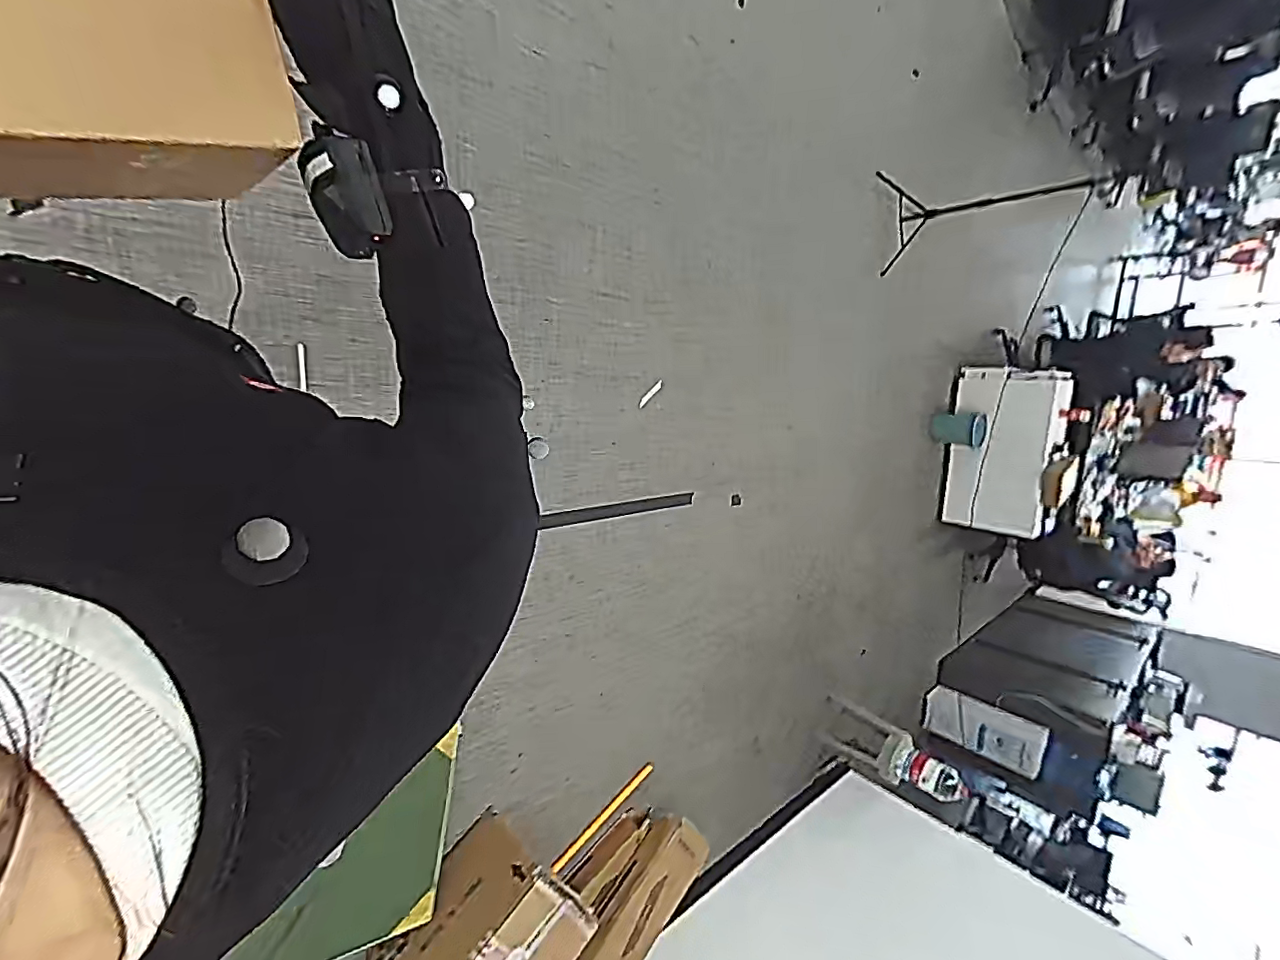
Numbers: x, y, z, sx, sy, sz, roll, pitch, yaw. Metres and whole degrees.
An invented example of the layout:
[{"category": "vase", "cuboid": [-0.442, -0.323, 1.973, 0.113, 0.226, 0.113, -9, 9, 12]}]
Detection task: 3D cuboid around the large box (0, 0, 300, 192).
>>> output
[{"category": "large box", "cuboid": [-0.473, -0.334, 0.275, 0.408, 0.320, 0.320, -22, 121, -36]}]
